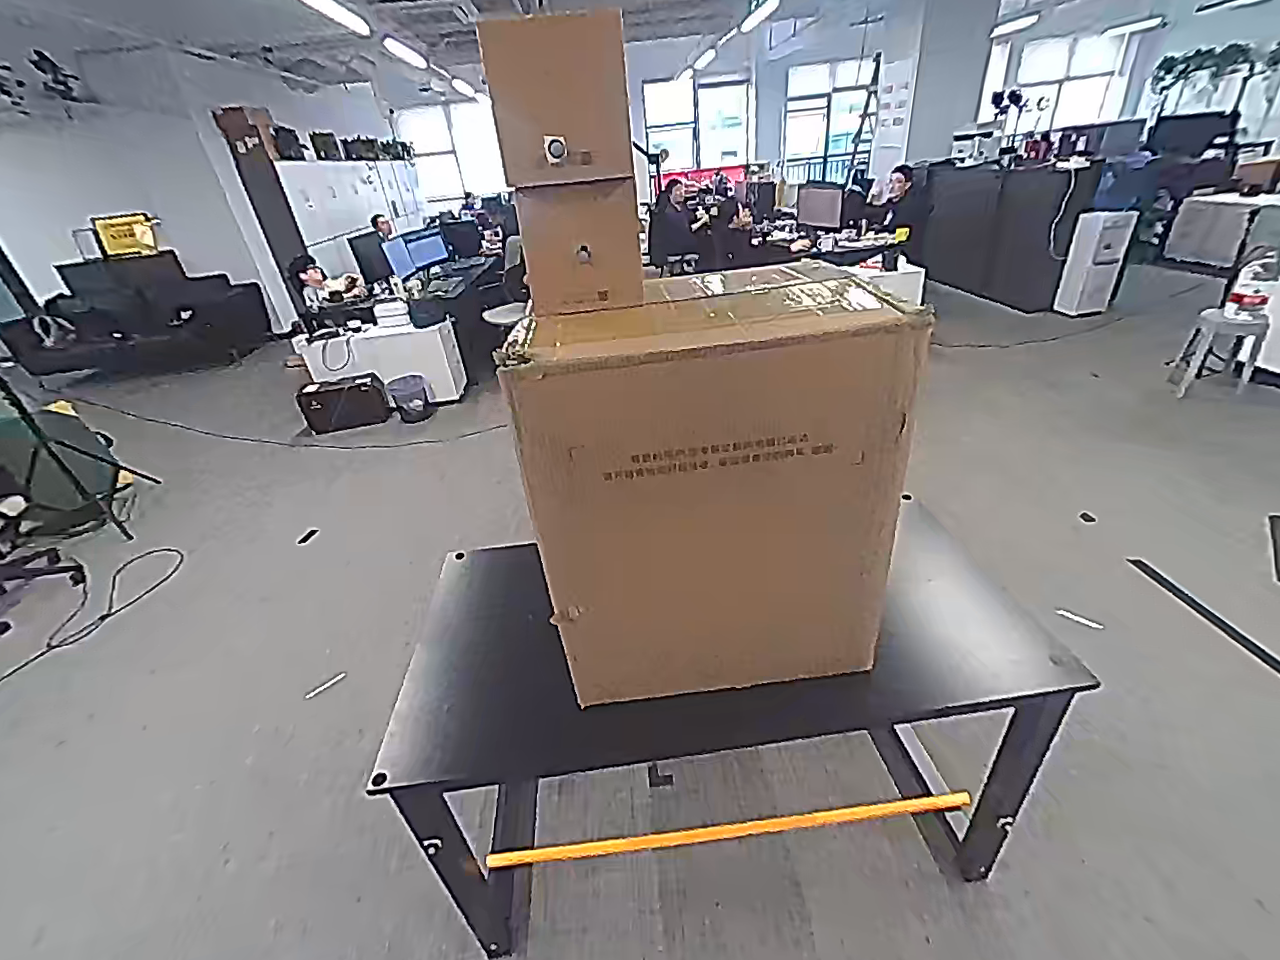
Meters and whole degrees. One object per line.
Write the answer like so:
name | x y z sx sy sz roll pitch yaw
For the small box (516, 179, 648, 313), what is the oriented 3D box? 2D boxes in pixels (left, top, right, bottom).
small box | -0.081 -0.356 0.820 0.168 0.176 0.179 -6 31 -2

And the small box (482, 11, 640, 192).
small box | -0.096 -0.479 0.708 0.168 0.176 0.179 -9 31 -3
